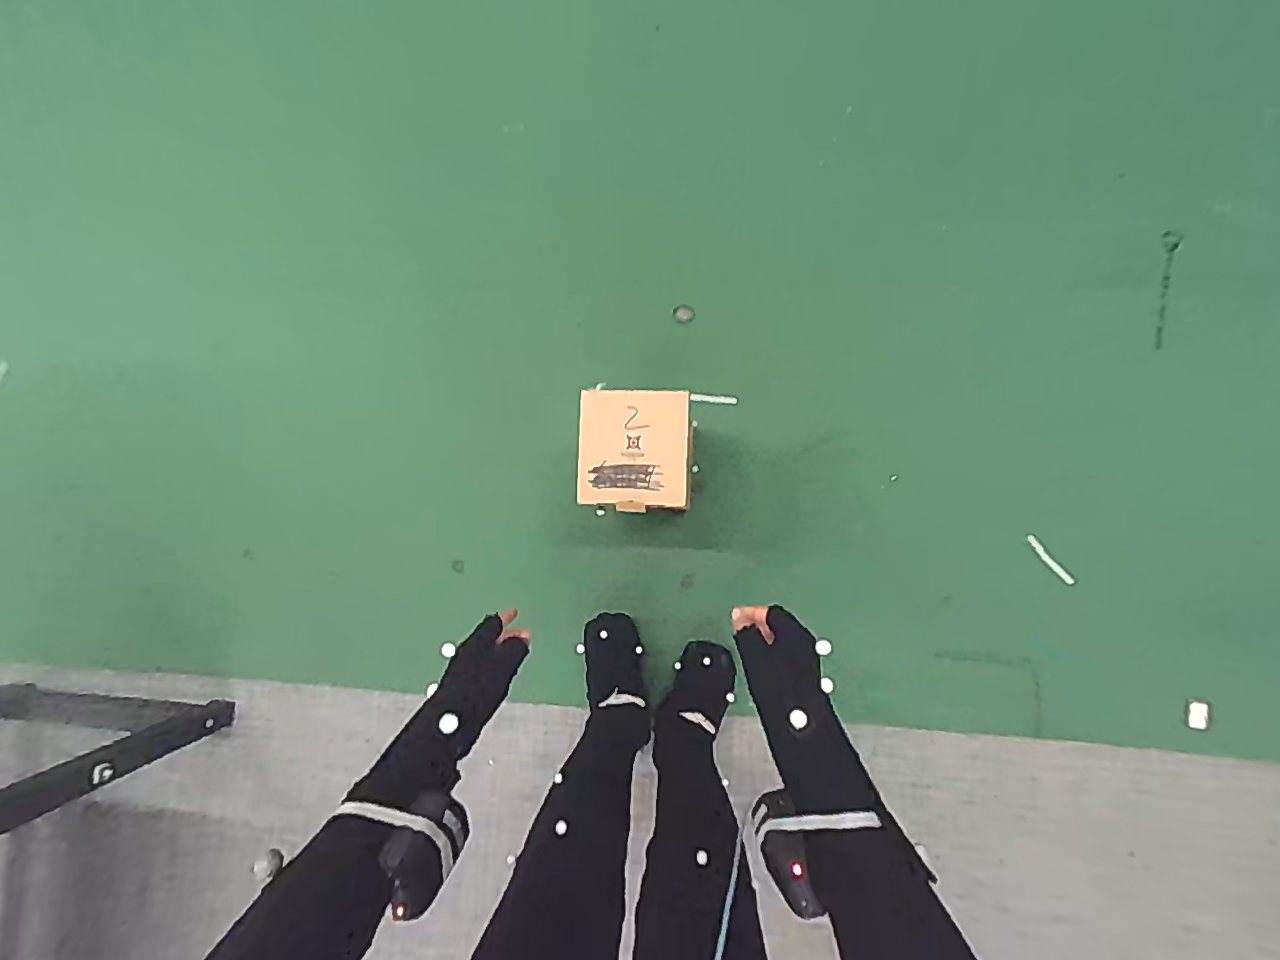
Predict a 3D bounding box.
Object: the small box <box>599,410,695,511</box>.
[{"bbox_3d":[0.020,-0.032,1.052,0.168,0.176,0.179,3,87,6],"label":"small box"}]
